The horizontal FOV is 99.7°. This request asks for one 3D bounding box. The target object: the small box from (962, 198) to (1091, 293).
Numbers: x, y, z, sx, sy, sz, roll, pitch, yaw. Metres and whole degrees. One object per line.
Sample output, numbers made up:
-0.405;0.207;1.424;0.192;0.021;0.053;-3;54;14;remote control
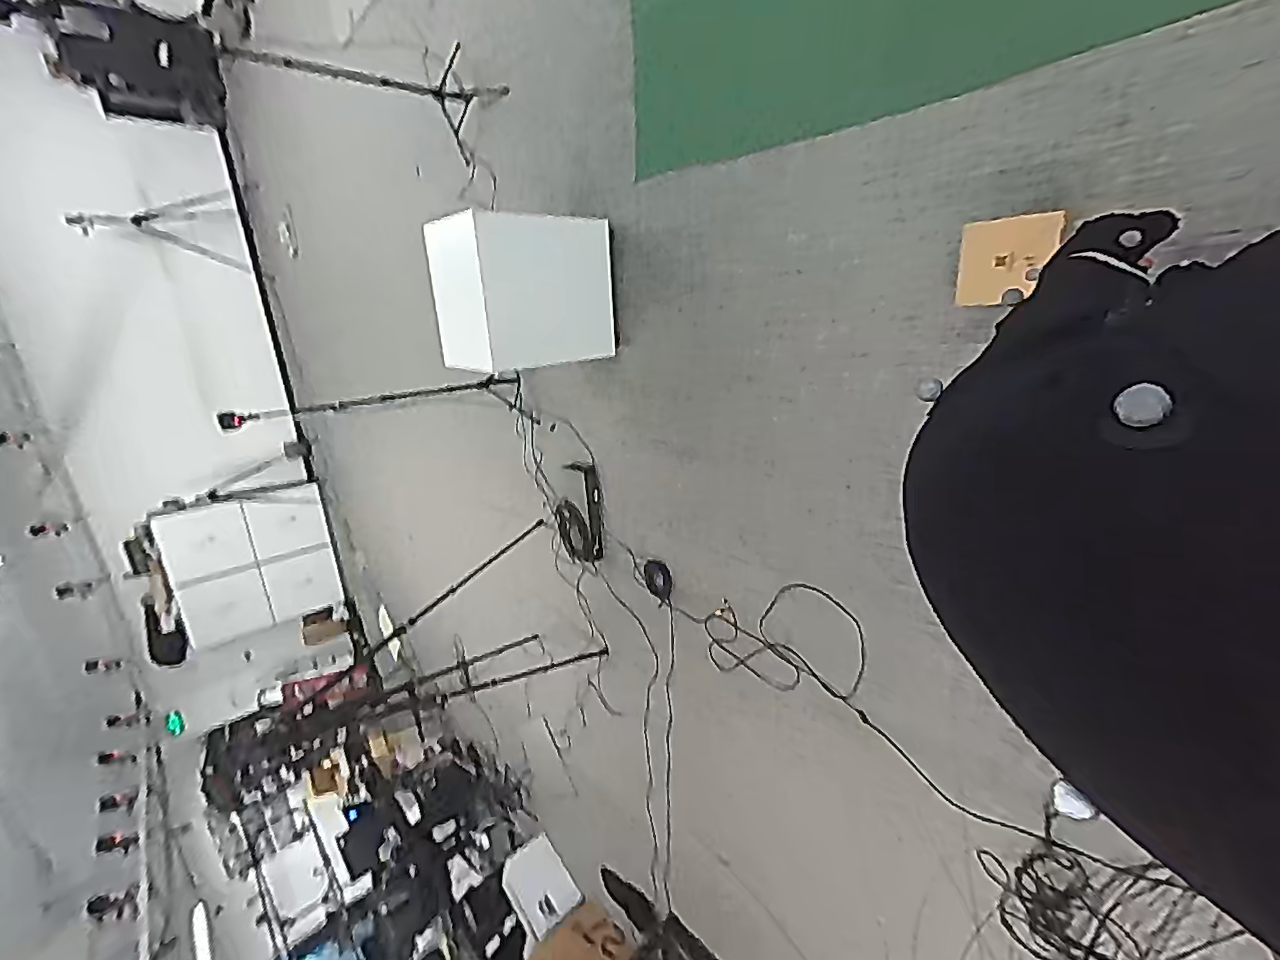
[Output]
0.814;-0.486;1.143;0.179;0.176;0.168;15;116;45;small box
